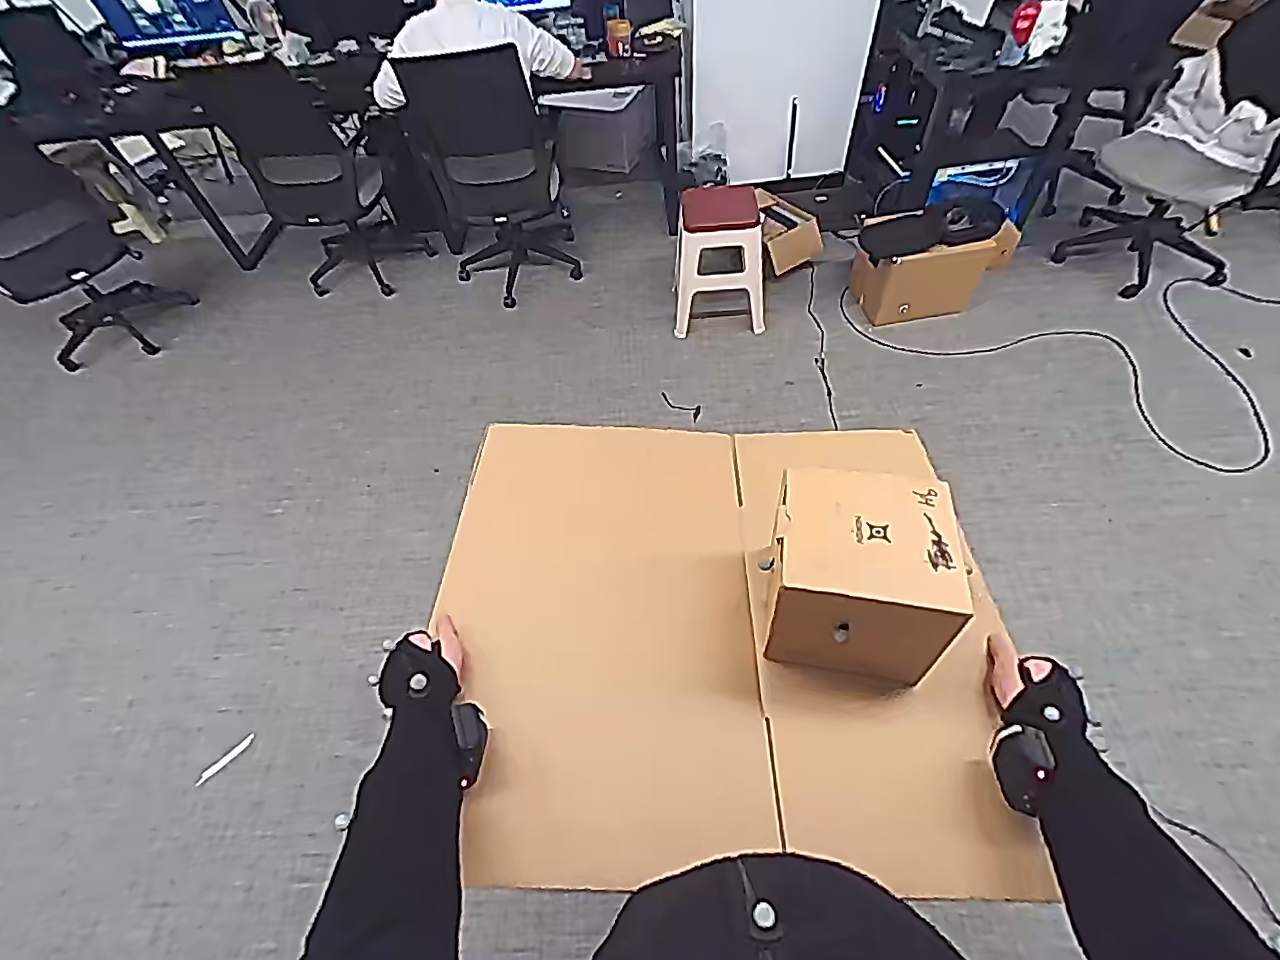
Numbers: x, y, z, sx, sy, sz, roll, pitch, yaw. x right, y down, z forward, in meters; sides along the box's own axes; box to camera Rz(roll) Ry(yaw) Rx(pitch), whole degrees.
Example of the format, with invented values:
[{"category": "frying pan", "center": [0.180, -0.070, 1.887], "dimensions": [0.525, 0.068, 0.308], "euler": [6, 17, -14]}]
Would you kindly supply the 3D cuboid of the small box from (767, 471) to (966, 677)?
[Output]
[{"category": "small box", "center": [0.244, 0.110, 0.628], "dimensions": [0.179, 0.176, 0.168], "euler": [6, 50, 12]}]
